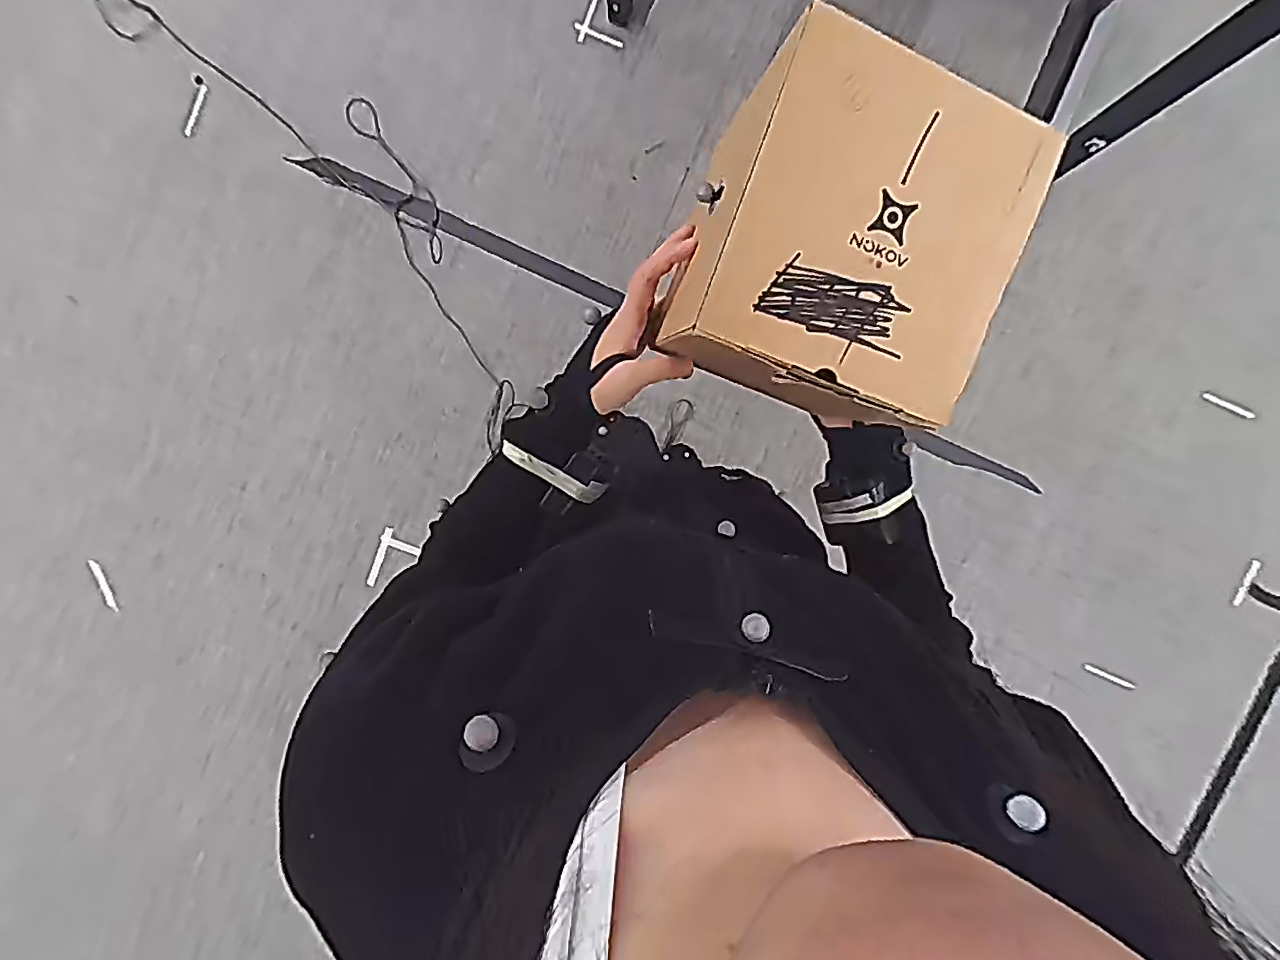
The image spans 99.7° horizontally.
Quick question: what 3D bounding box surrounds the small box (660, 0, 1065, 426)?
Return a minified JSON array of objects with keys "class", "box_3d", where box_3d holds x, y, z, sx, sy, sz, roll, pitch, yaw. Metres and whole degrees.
[{"class":"small box","box_3d":[0.122,-0.151,0.374,0.168,0.176,0.179,19,97,-11]}]
